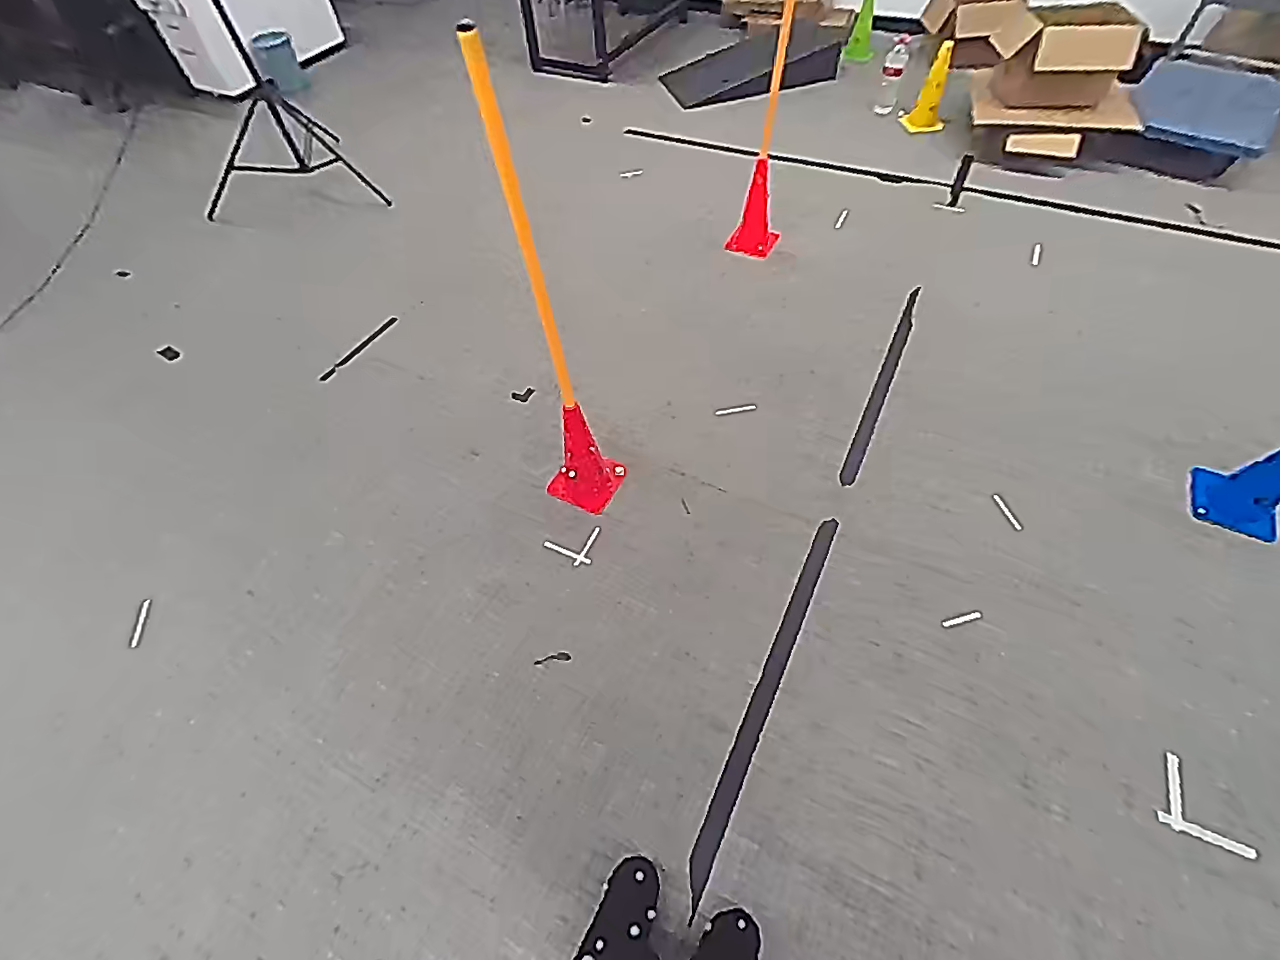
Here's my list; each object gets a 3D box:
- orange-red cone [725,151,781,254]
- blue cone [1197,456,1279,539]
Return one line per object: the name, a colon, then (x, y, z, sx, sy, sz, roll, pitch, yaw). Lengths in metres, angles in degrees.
orange-red cone: (0.486, -1.159, 2.223, 0.198, 0.360, 0.199, 25, 60, 19)
blue cone: (1.694, -0.025, 1.407, 0.193, 0.380, 0.192, 25, 61, 19)
